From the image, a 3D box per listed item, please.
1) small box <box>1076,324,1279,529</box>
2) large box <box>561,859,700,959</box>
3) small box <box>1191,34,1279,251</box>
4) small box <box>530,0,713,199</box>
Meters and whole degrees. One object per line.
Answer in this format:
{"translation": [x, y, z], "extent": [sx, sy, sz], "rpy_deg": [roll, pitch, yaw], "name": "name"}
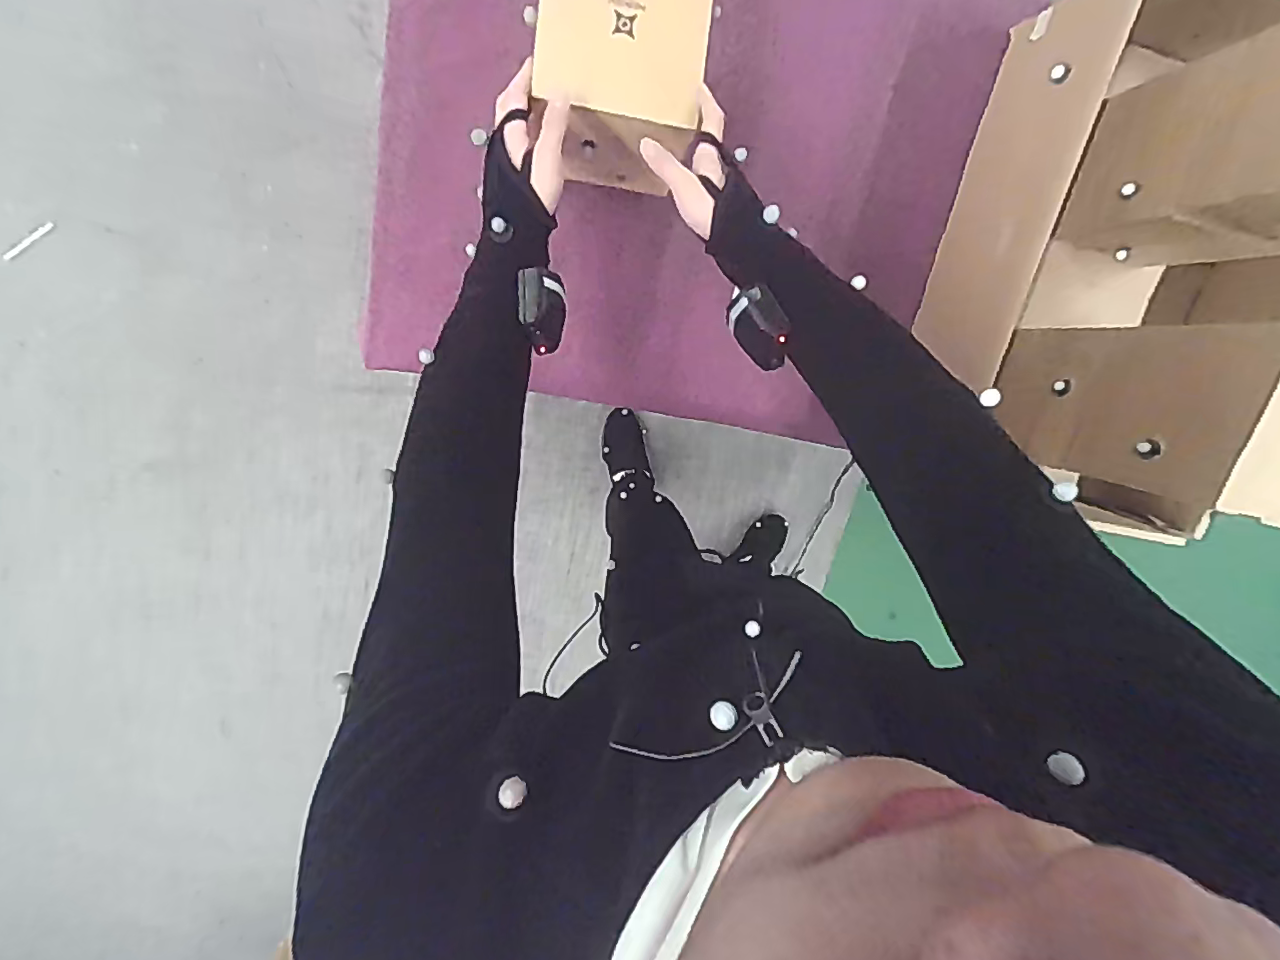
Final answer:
{"translation": [0.621, -0.057, 0.572], "extent": [0.168, 0.176, 0.179], "rpy_deg": [12, 103, -9], "name": "small box"}
{"translation": [-0.028, 1.608, 1.846], "extent": [0.408, 0.320, 0.320], "rpy_deg": [-21, 107, -2], "name": "large box"}
{"translation": [0.692, -0.328, 0.505], "extent": [0.168, 0.176, 0.179], "rpy_deg": [13, 104, -10], "name": "small box"}
{"translation": [-0.025, -0.439, 0.594], "extent": [0.168, 0.176, 0.179], "rpy_deg": [6, 93, -9], "name": "small box"}
